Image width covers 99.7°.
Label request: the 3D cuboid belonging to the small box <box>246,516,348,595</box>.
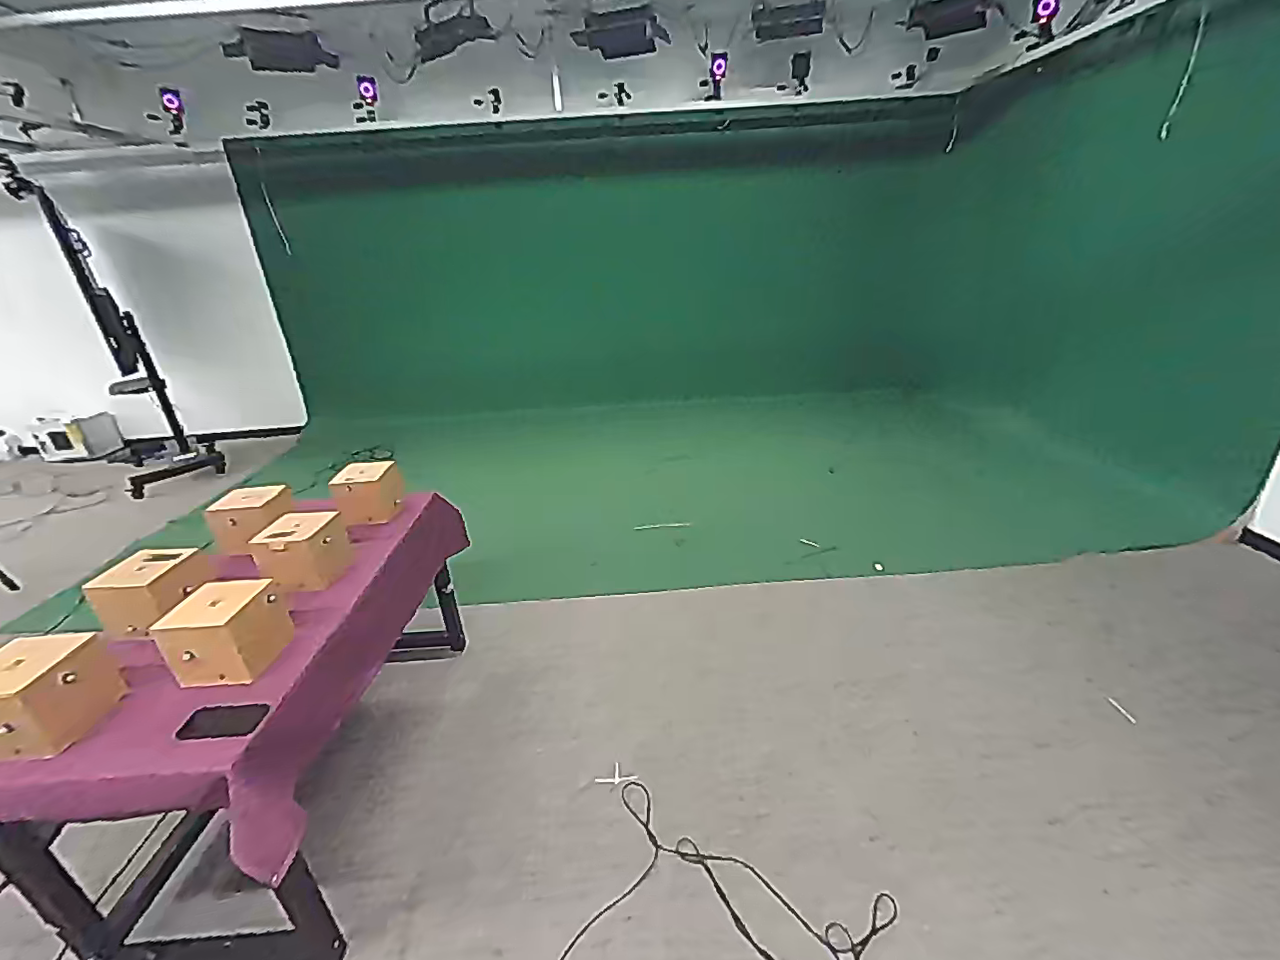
[{"bbox_3d":[-0.978,0.220,1.562,0.168,0.176,0.179,-3,23,2],"label":"small box"}]

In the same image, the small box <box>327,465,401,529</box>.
[{"bbox_3d":[-0.971,0.061,1.919,0.168,0.176,0.179,-5,24,-1],"label":"small box"}]

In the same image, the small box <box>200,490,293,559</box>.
[{"bbox_3d":[-1.270,0.147,1.769,0.179,0.176,0.168,-5,24,-3],"label":"small box"}]

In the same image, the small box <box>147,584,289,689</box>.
[{"bbox_3d":[-0.951,0.361,1.240,0.168,0.176,0.179,-4,23,1],"label":"small box"}]
